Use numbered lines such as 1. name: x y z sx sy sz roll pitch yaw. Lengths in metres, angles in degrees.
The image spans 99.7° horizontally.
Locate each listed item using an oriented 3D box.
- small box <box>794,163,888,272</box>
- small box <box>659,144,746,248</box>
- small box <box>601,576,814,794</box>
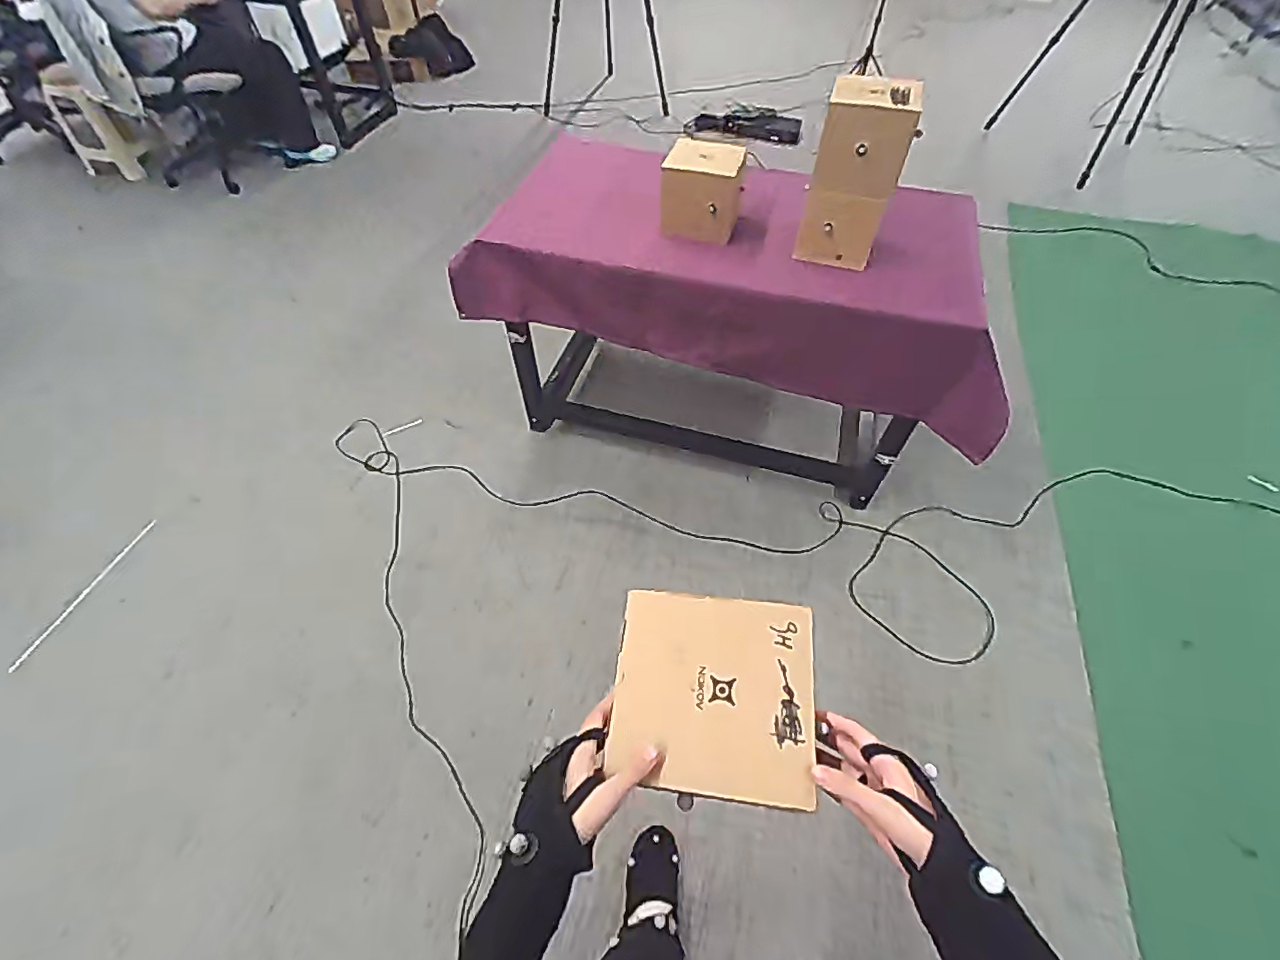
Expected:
1. small box: 0.471 -0.619 1.281 0.168 0.176 0.179 15 54 11
2. small box: 0.152 -0.702 1.344 0.179 0.176 0.168 14 53 11
3. small box: 0.072 0.210 0.545 0.179 0.176 0.168 4 59 9
